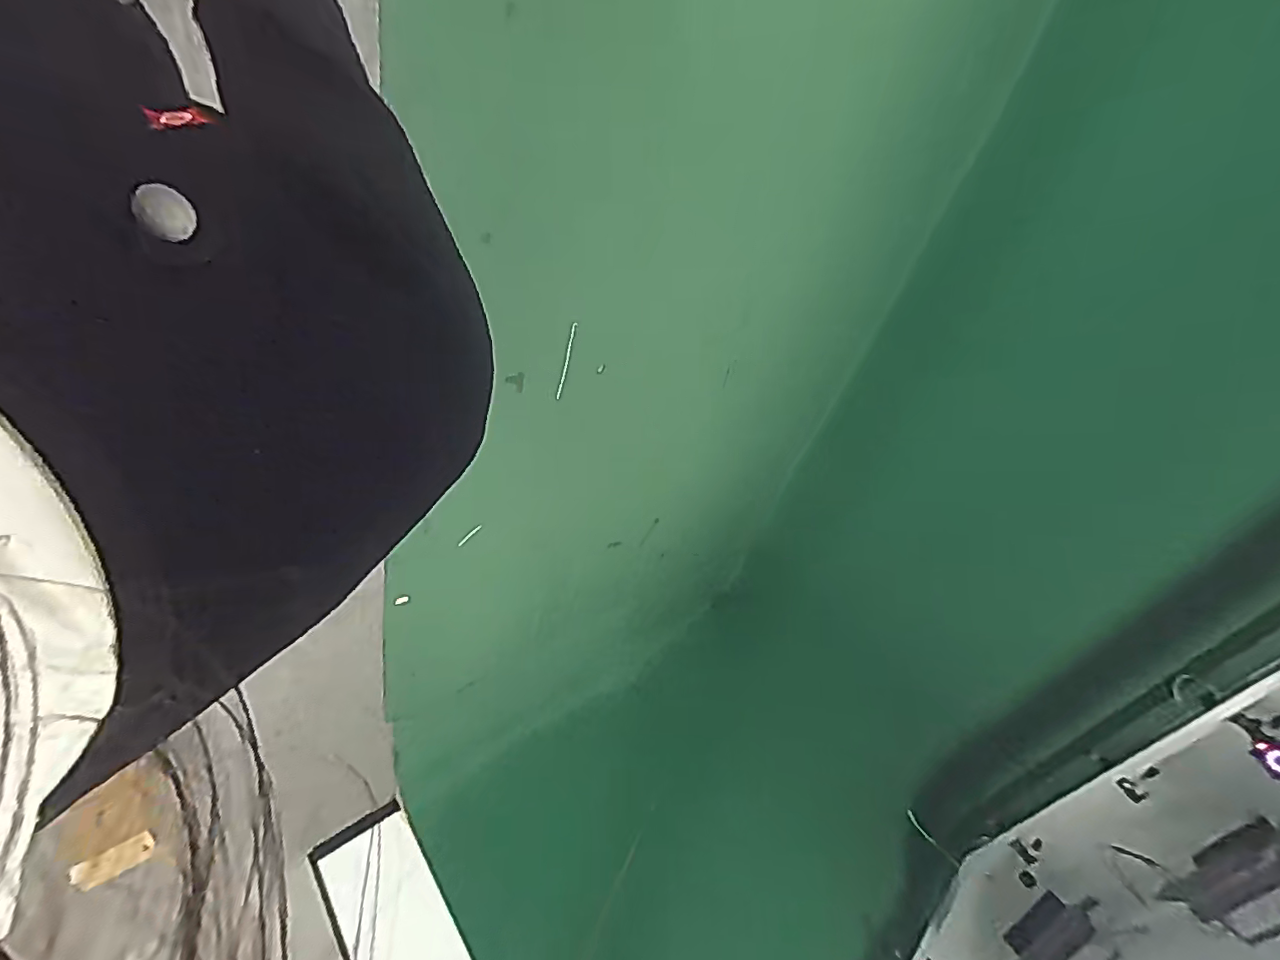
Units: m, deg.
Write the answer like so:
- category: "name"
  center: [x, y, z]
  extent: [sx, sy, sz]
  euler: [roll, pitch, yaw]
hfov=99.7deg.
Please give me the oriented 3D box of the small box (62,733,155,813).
- category: "small box"
  center: [-1.681, 0.946, 1.708]
  extent: [0.179, 0.176, 0.168]
  euler: [-20, 141, -41]

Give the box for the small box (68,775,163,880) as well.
- category: "small box"
  center: [-1.575, 1.034, 1.622]
  extent: [0.179, 0.176, 0.168]
  euler: [-17, 139, -41]
